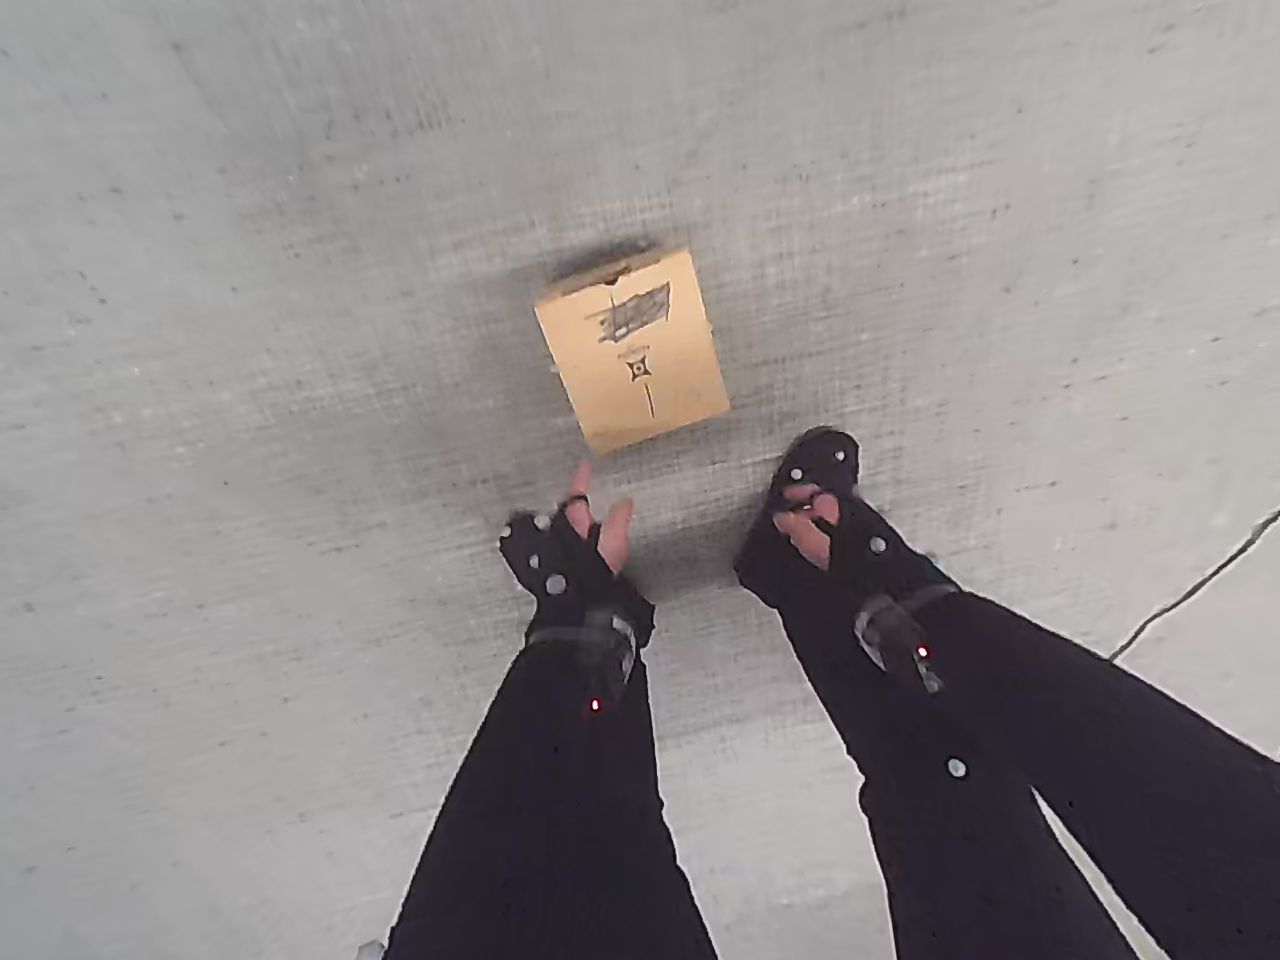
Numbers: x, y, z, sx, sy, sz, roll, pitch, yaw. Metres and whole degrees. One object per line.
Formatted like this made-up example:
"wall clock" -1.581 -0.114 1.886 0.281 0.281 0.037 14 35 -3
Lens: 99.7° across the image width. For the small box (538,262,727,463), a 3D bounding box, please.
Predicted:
"small box" -0.012 -0.149 0.646 0.168 0.176 0.179 -18 116 2
